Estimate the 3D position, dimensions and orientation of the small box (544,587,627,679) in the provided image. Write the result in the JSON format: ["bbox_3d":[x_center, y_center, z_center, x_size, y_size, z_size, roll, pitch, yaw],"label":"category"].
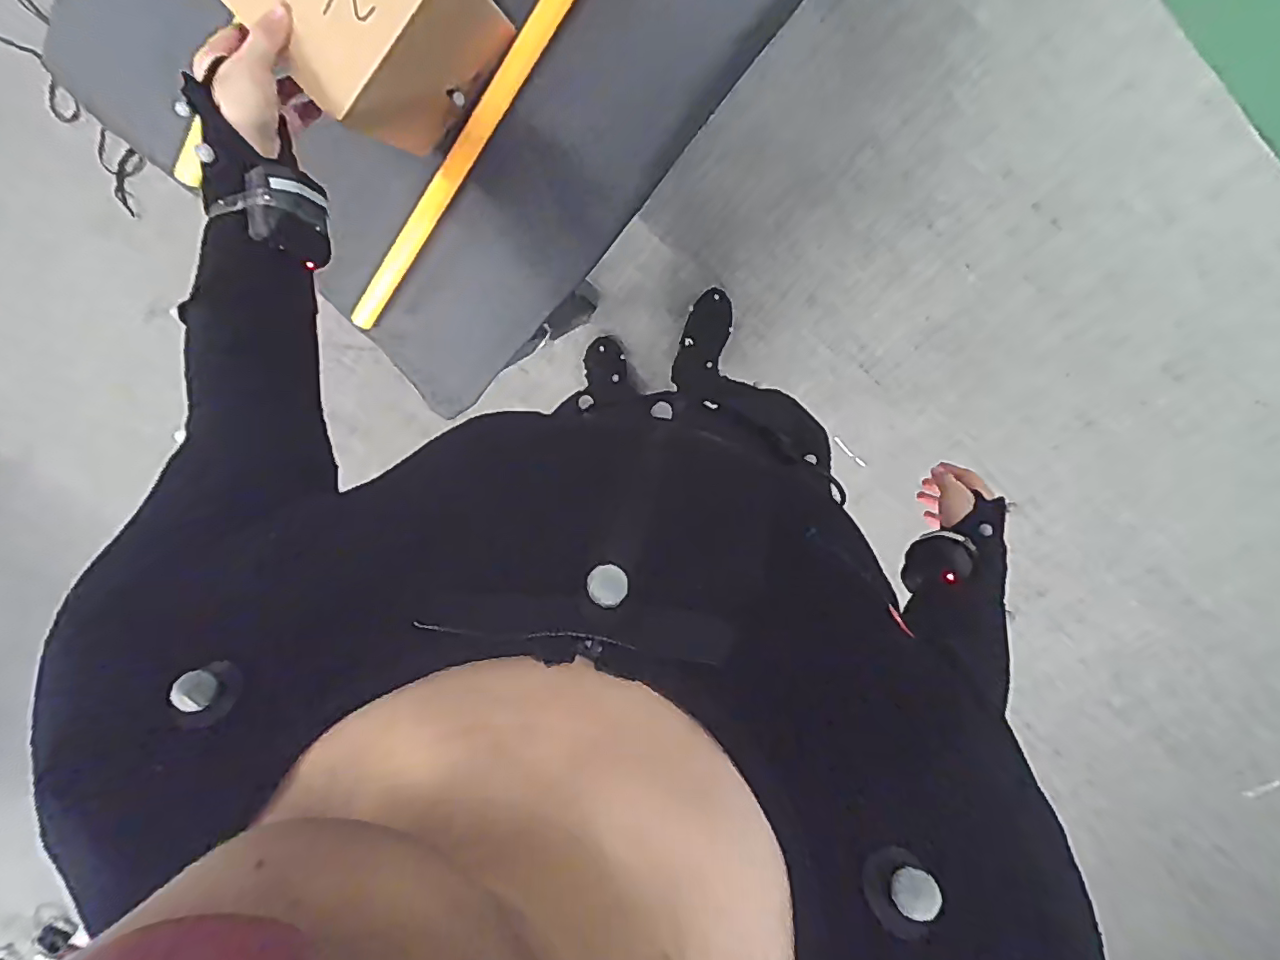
[{"bbox_3d":[-0.159,0.464,1.660,0.168,0.176,0.179,-41,102,20],"label":"small box"}]
